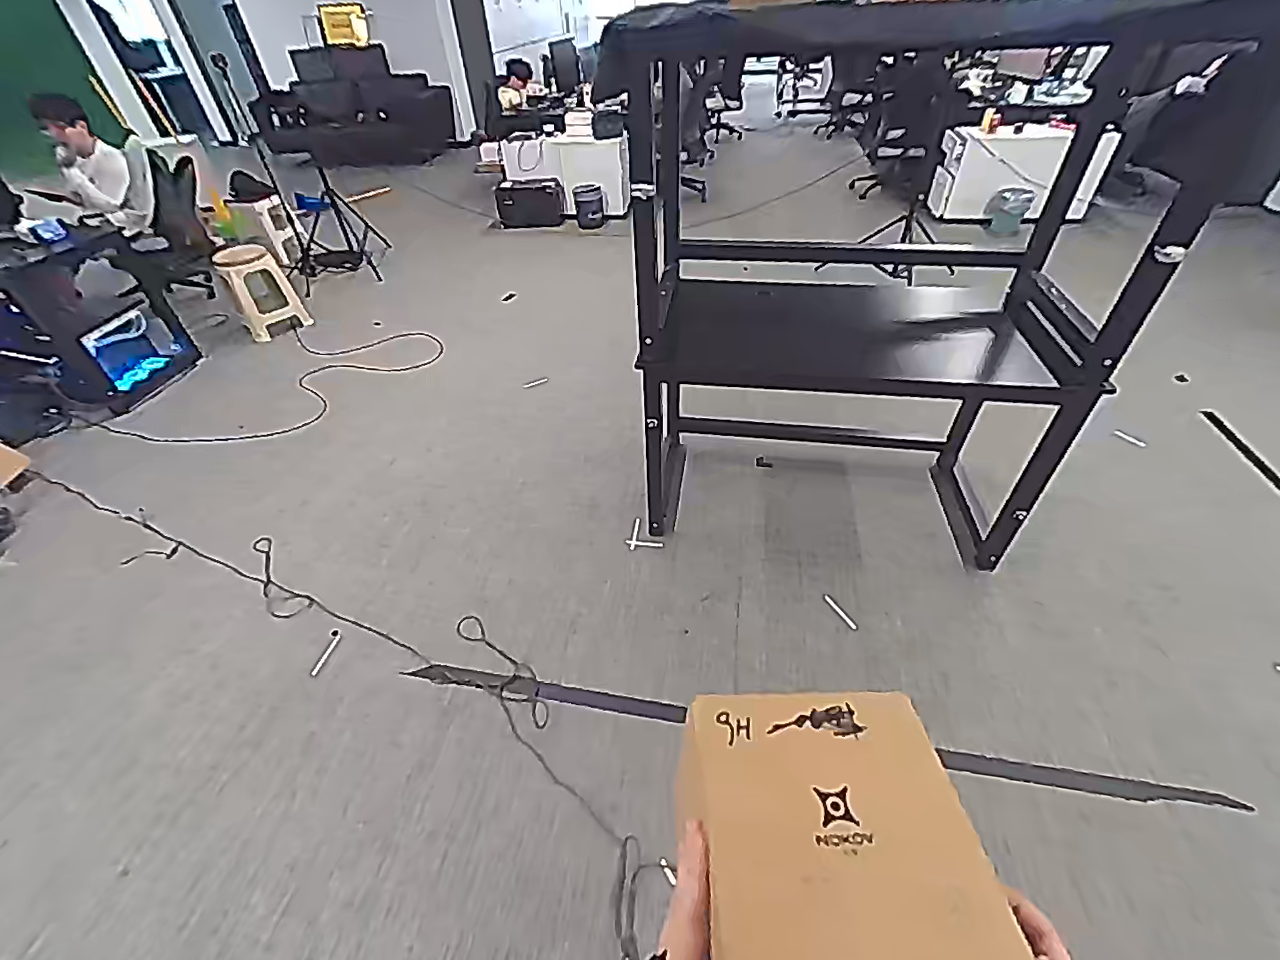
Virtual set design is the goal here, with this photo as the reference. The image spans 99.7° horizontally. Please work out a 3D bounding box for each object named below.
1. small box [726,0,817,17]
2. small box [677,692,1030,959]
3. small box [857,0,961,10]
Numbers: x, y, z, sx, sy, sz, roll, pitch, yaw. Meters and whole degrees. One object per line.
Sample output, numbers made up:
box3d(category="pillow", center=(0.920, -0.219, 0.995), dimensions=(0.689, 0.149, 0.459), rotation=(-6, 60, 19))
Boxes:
box3d(category="small box", center=(0.254, -0.990, 1.018), dimensions=(0.168, 0.176, 0.179), rotation=(4, 40, 6))
box3d(category="small box", center=(0.119, 0.275, 0.382), dimensions=(0.168, 0.176, 0.179), rotation=(1, 38, -4))
box3d(category="small box", center=(0.507, -0.973, 0.988), dimensions=(0.168, 0.176, 0.179), rotation=(4, 41, 9))
